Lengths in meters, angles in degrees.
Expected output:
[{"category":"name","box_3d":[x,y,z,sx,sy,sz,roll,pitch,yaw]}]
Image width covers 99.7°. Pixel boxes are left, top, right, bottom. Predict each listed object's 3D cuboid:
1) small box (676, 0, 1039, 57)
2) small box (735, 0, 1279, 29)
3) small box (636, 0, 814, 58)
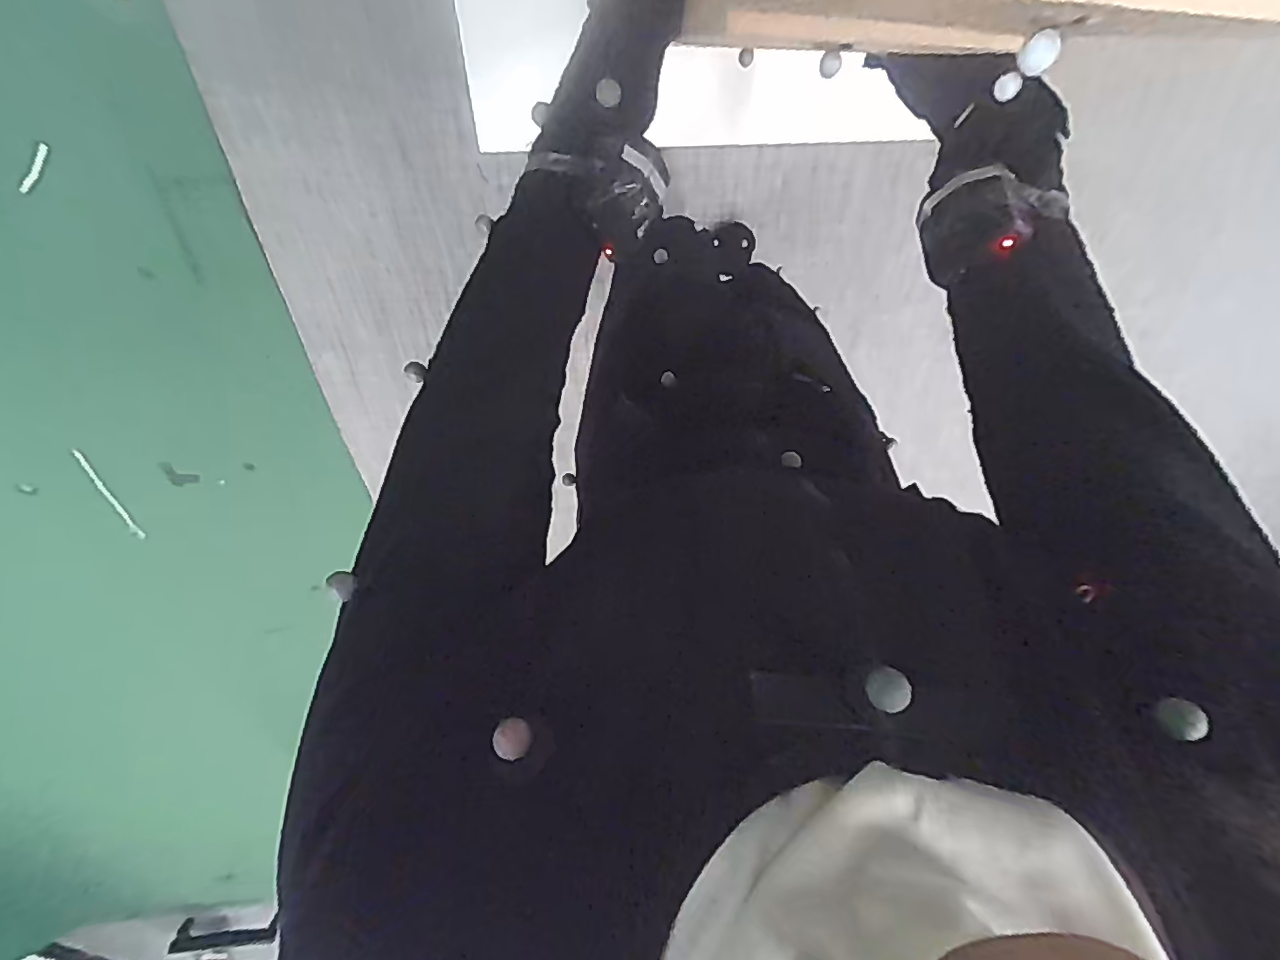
[{"category":"small box","box_3d":[0.114,-0.338,0.286,0.168,0.176,0.179,-5,128,-5]},{"category":"small box","box_3d":[0.129,-0.241,0.154,0.179,0.176,0.168,-3,130,-7]},{"category":"small box","box_3d":[0.090,-0.432,0.415,0.179,0.176,0.168,-3,128,-5]}]
